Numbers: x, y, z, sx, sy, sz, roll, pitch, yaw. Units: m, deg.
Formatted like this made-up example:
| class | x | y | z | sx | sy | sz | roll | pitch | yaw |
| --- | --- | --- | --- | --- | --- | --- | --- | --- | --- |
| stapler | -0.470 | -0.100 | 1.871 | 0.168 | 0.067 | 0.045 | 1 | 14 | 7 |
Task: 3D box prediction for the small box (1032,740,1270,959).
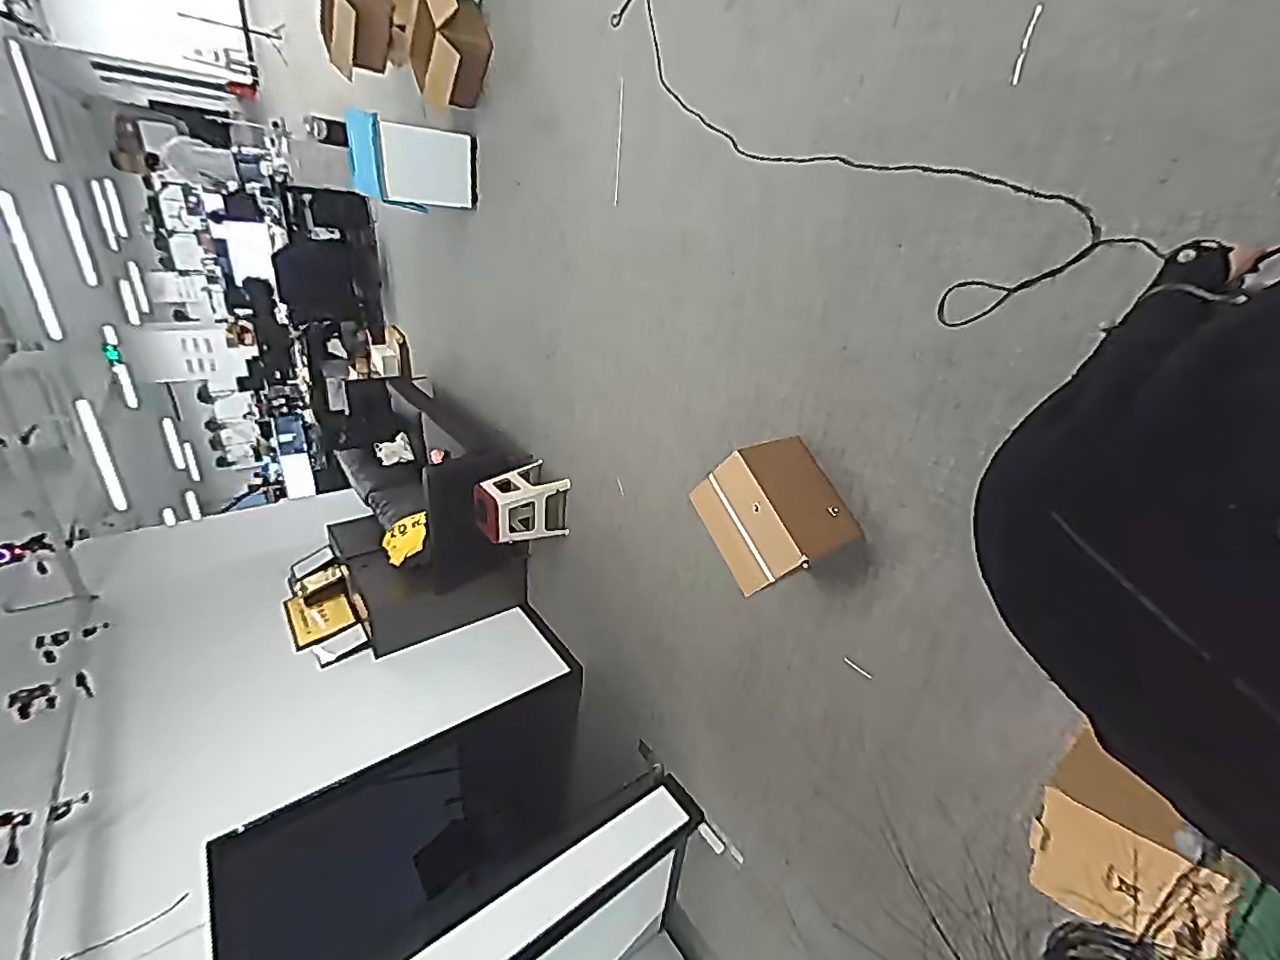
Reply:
| class | x | y | z | sx | sy | sz | roll | pitch | yaw |
| --- | --- | --- | --- | --- | --- | --- | --- | --- | --- |
| small box | 0.646 | 0.468 | 0.692 | 0.179 | 0.176 | 0.168 | 17 | 115 | 52 |
